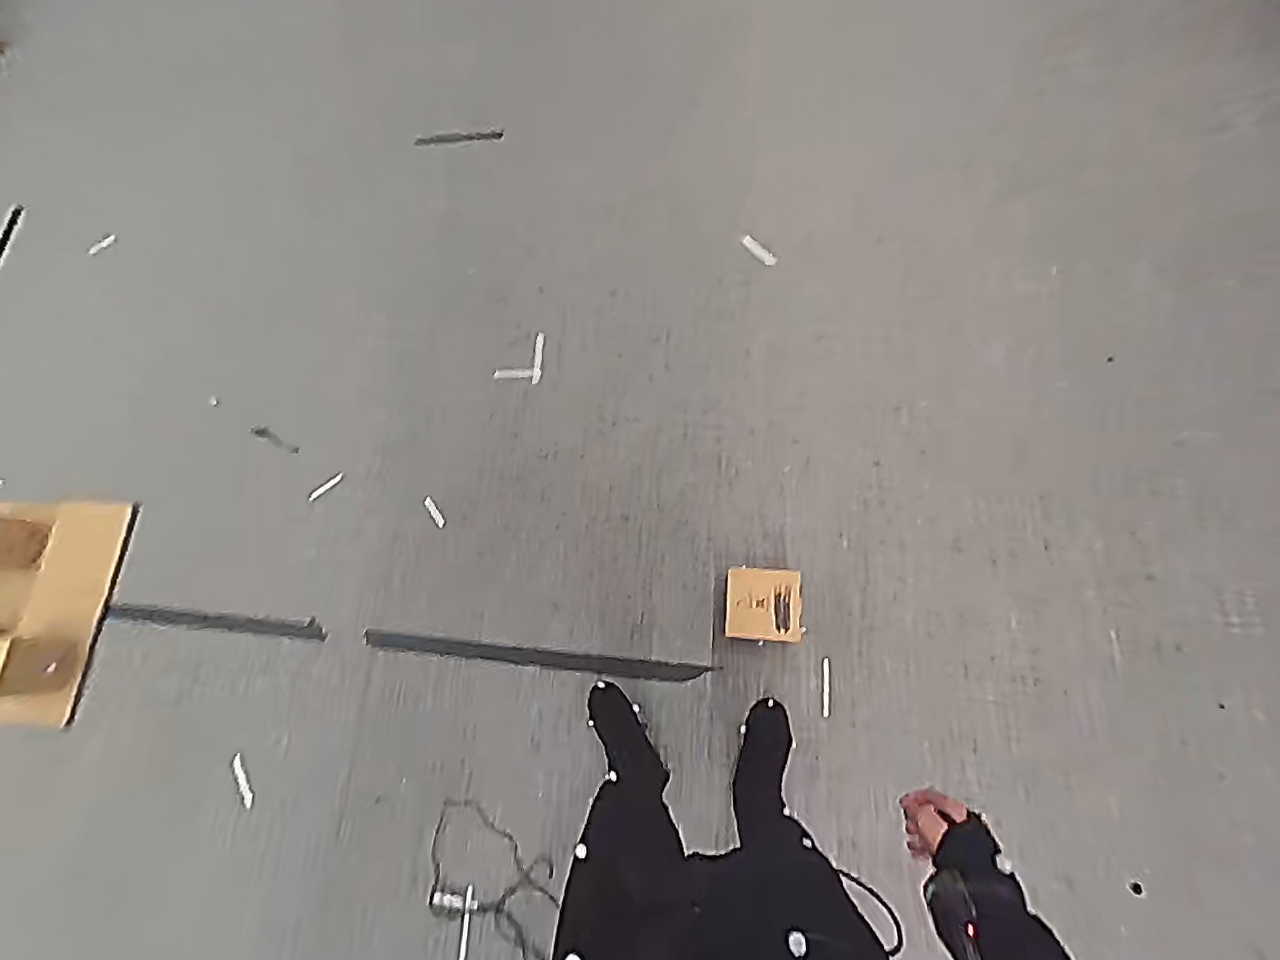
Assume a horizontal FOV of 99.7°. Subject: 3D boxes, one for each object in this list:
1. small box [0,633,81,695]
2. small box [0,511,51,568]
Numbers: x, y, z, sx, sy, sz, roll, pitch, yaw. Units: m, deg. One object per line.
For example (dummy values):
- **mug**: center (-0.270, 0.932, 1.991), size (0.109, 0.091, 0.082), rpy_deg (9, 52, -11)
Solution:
- **small box**: center (-1.862, 0.548, 1.623), size (0.179, 0.176, 0.168), rpy_deg (0, 75, 8)
- **small box**: center (-2.117, 0.195, 1.769), size (0.179, 0.176, 0.168), rpy_deg (-3, 74, 8)
